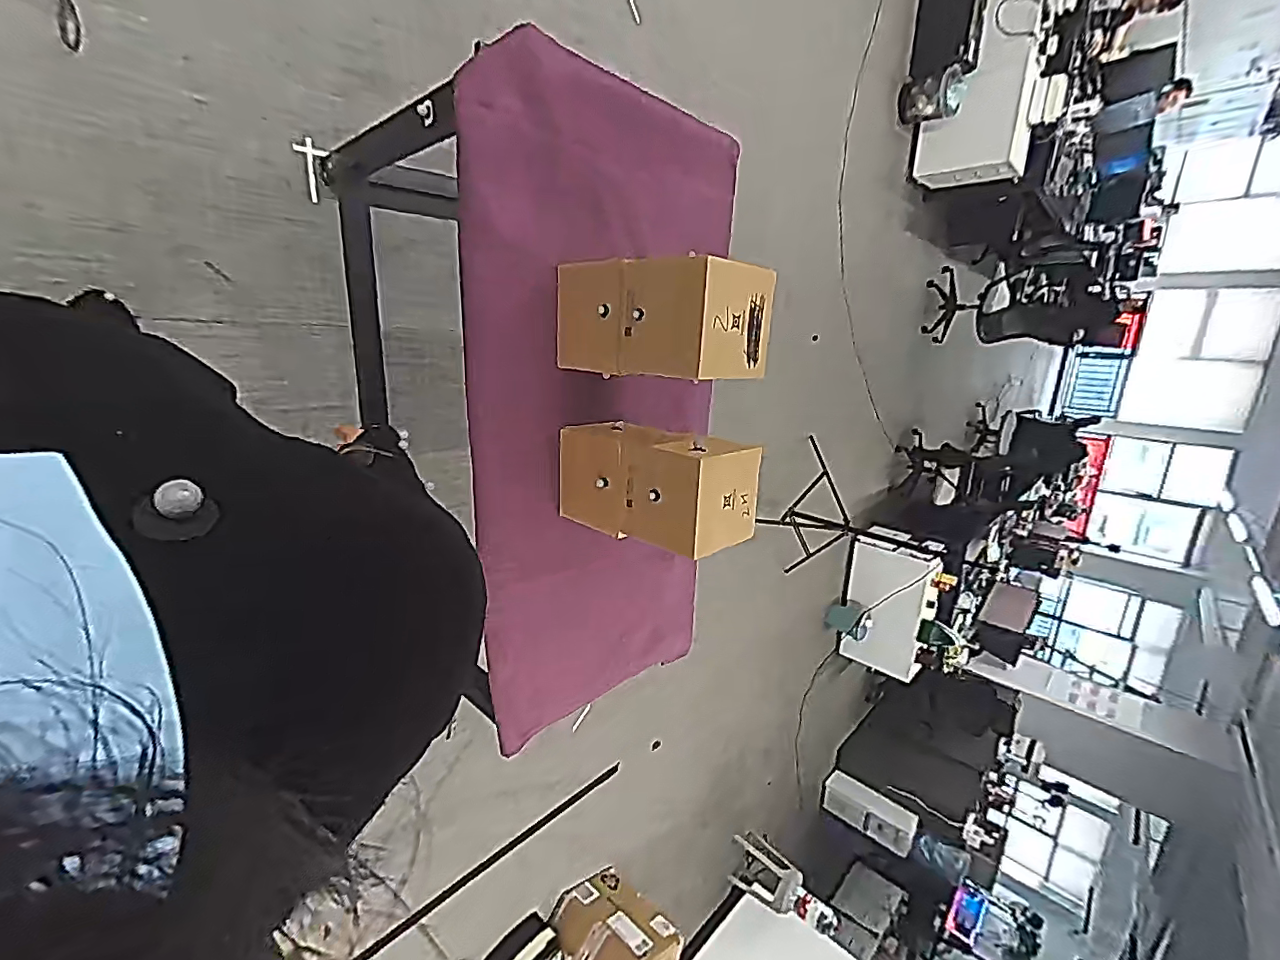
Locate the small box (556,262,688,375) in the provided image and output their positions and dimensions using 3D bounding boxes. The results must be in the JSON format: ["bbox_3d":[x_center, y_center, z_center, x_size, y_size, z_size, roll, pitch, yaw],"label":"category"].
[{"bbox_3d":[-0.035,-0.282,0.962,0.168,0.176,0.179,-12,112,-45],"label":"small box"}]

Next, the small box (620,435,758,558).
[{"bbox_3d":[0.081,0.019,0.937,0.179,0.176,0.168,-12,110,-46],"label":"small box"}]

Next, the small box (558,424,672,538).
[{"bbox_3d":[-0.045,-0.007,1.041,0.168,0.176,0.179,-12,110,-46],"label":"small box"}]
